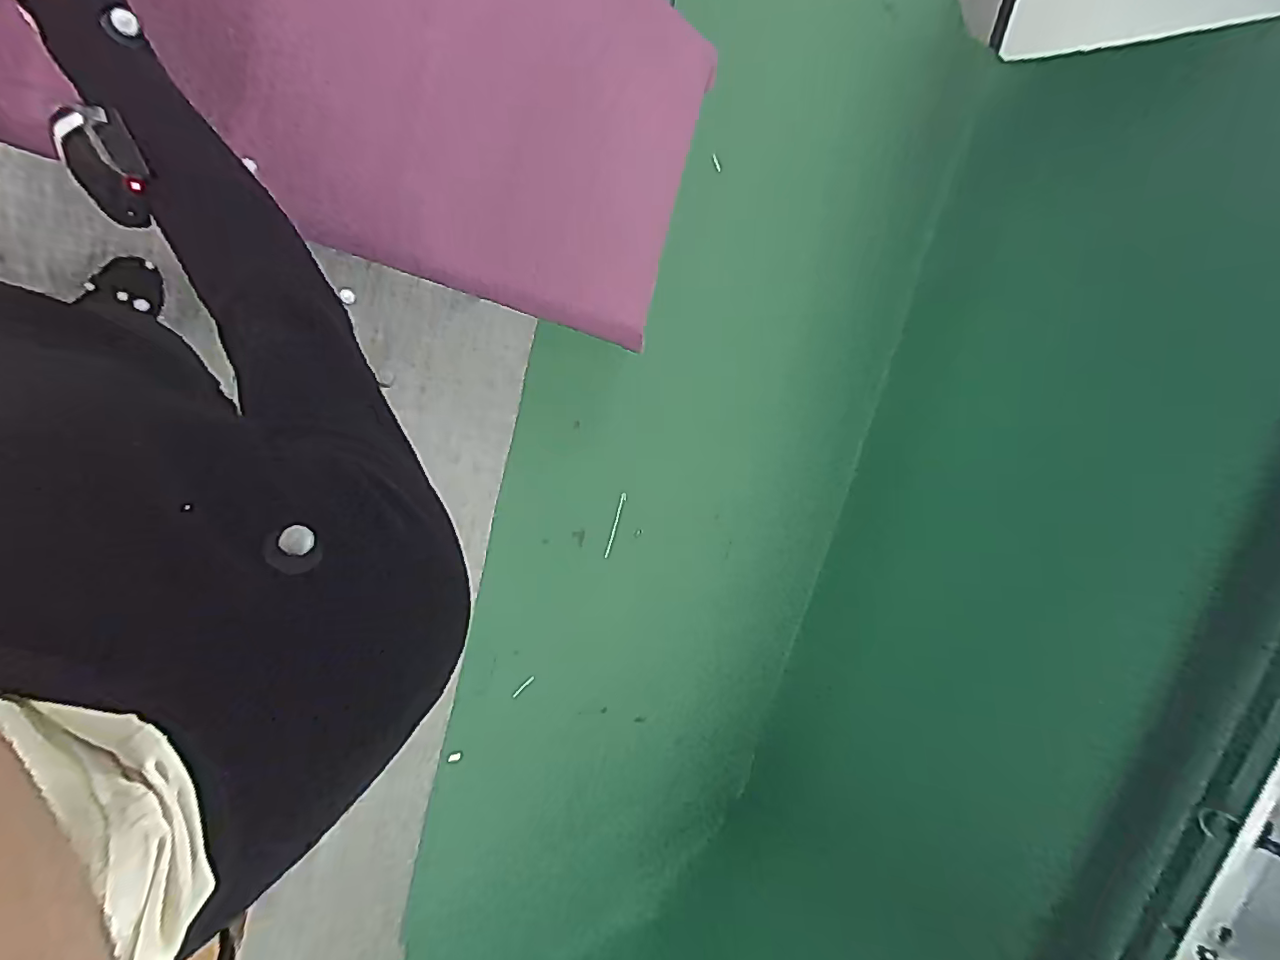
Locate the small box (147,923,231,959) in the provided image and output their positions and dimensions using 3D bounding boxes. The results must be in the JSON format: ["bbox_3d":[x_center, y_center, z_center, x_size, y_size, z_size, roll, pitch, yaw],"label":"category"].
[{"bbox_3d":[-1.184,1.323,1.406,0.168,0.176,0.179,11,100,-47],"label":"small box"}]
